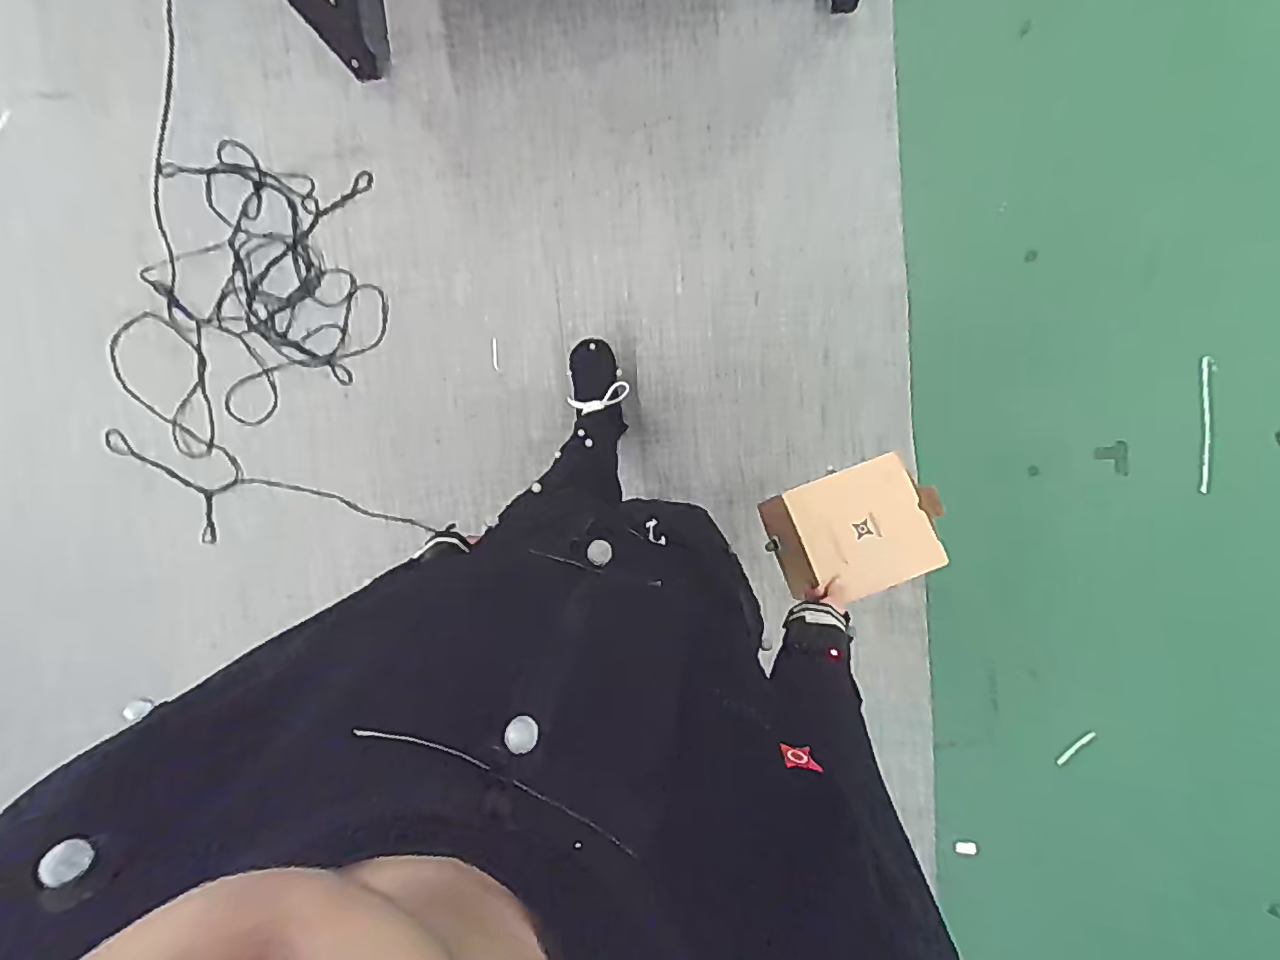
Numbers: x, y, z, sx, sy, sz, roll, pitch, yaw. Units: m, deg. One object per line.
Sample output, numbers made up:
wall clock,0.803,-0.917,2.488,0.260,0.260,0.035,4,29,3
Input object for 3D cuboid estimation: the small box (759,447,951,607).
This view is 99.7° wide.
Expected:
small box,0.295,0.069,0.783,0.179,0.176,0.168,-21,82,-3
